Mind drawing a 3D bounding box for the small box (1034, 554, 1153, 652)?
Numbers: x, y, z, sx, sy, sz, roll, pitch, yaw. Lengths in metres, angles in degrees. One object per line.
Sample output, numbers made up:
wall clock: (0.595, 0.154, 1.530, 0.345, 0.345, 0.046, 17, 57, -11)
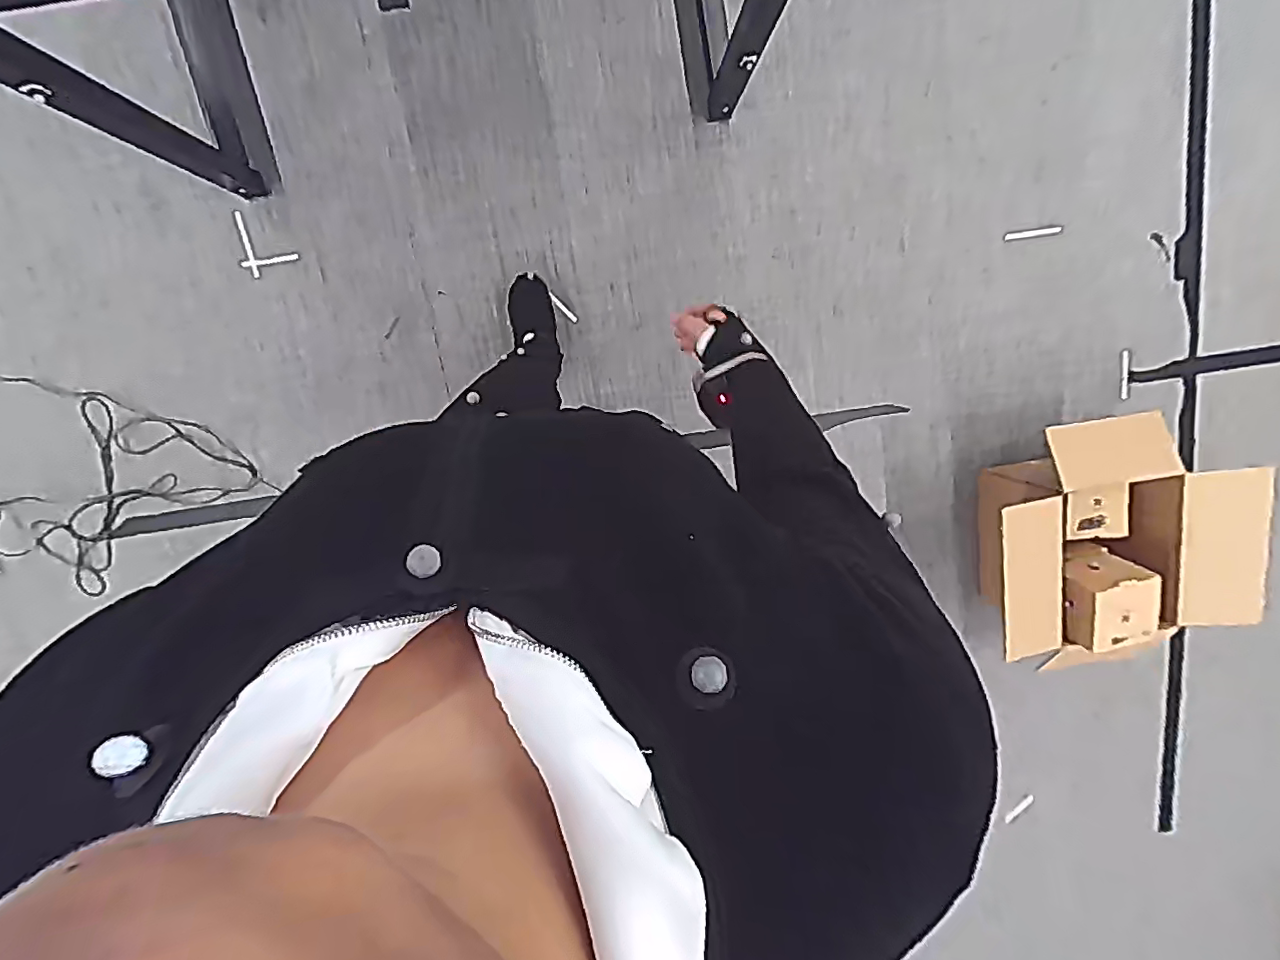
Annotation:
small box: (1.139, 0.300, 1.371, 0.168, 0.176, 0.179, -12, 106, -2)
